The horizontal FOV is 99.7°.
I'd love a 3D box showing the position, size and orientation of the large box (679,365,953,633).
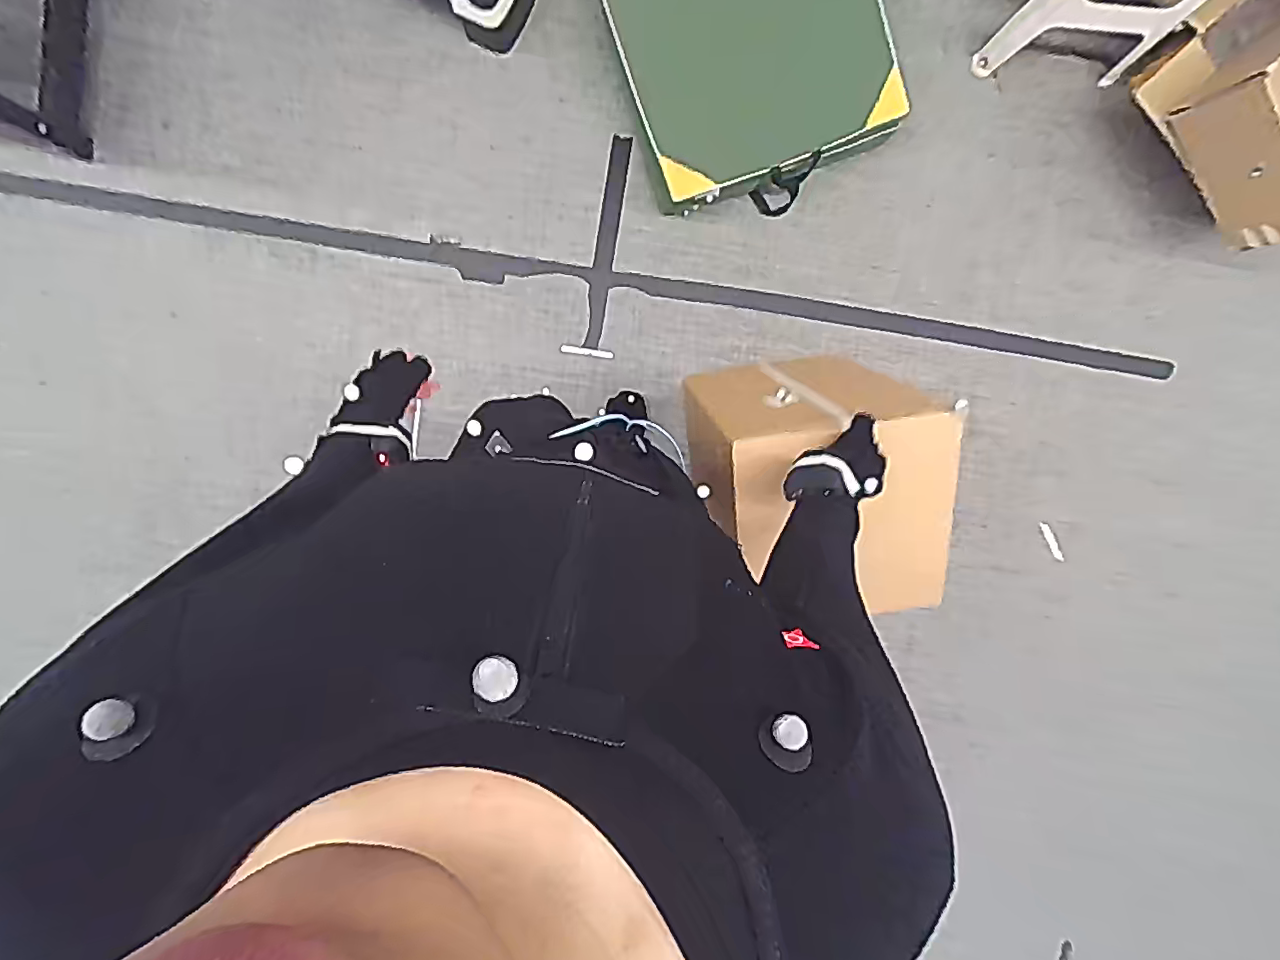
[{"bbox_3d":[0.265,0.004,0.959,0.320,0.408,0.320,-9,114,-2],"label":"large box"}]
